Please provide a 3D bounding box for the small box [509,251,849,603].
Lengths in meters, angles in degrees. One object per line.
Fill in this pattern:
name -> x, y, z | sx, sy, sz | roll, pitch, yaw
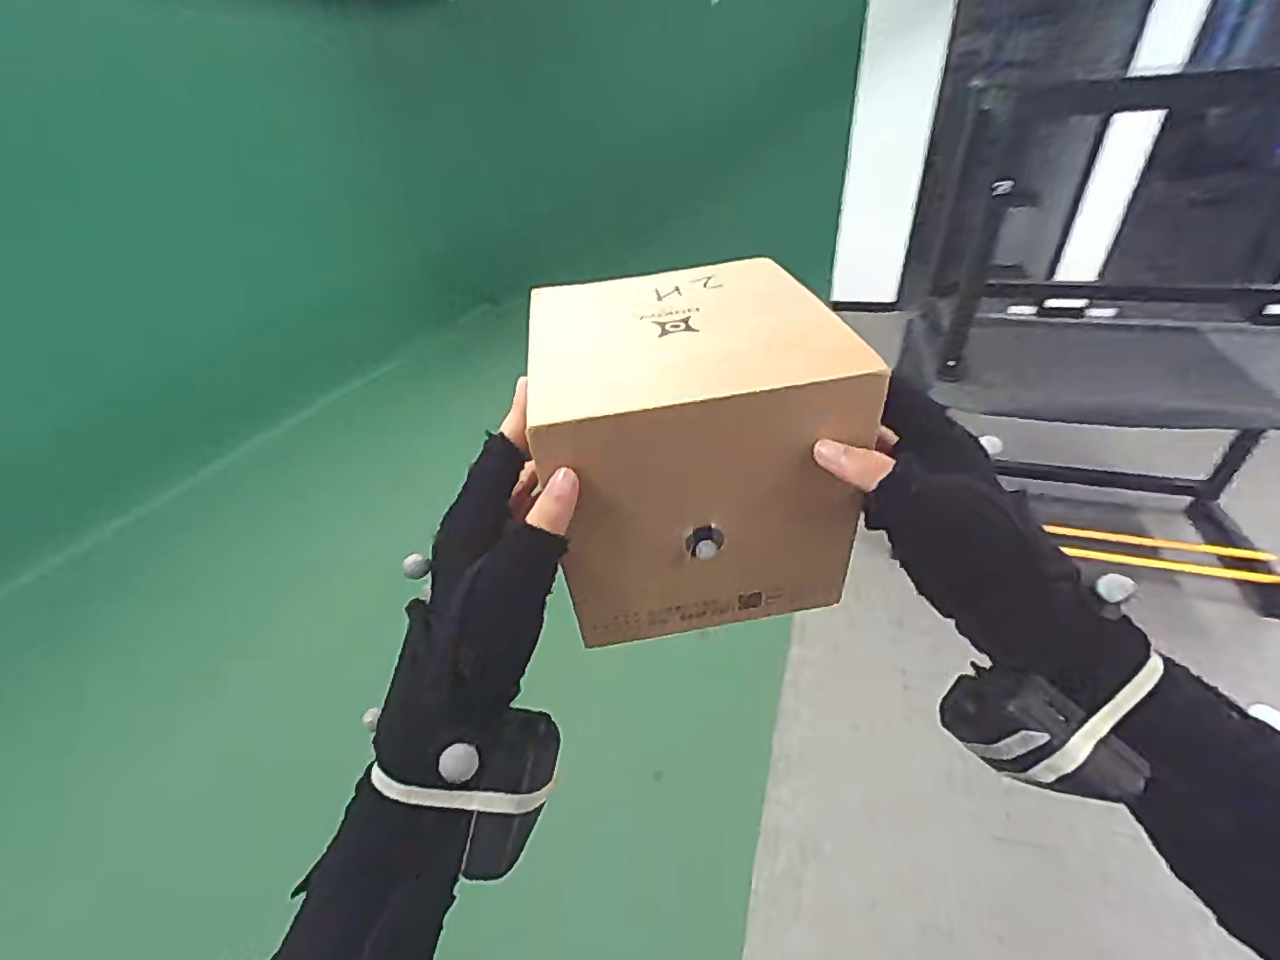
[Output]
small box -> 0.019, -0.035, 0.364 | 0.168, 0.176, 0.179 | -8, 37, -2
